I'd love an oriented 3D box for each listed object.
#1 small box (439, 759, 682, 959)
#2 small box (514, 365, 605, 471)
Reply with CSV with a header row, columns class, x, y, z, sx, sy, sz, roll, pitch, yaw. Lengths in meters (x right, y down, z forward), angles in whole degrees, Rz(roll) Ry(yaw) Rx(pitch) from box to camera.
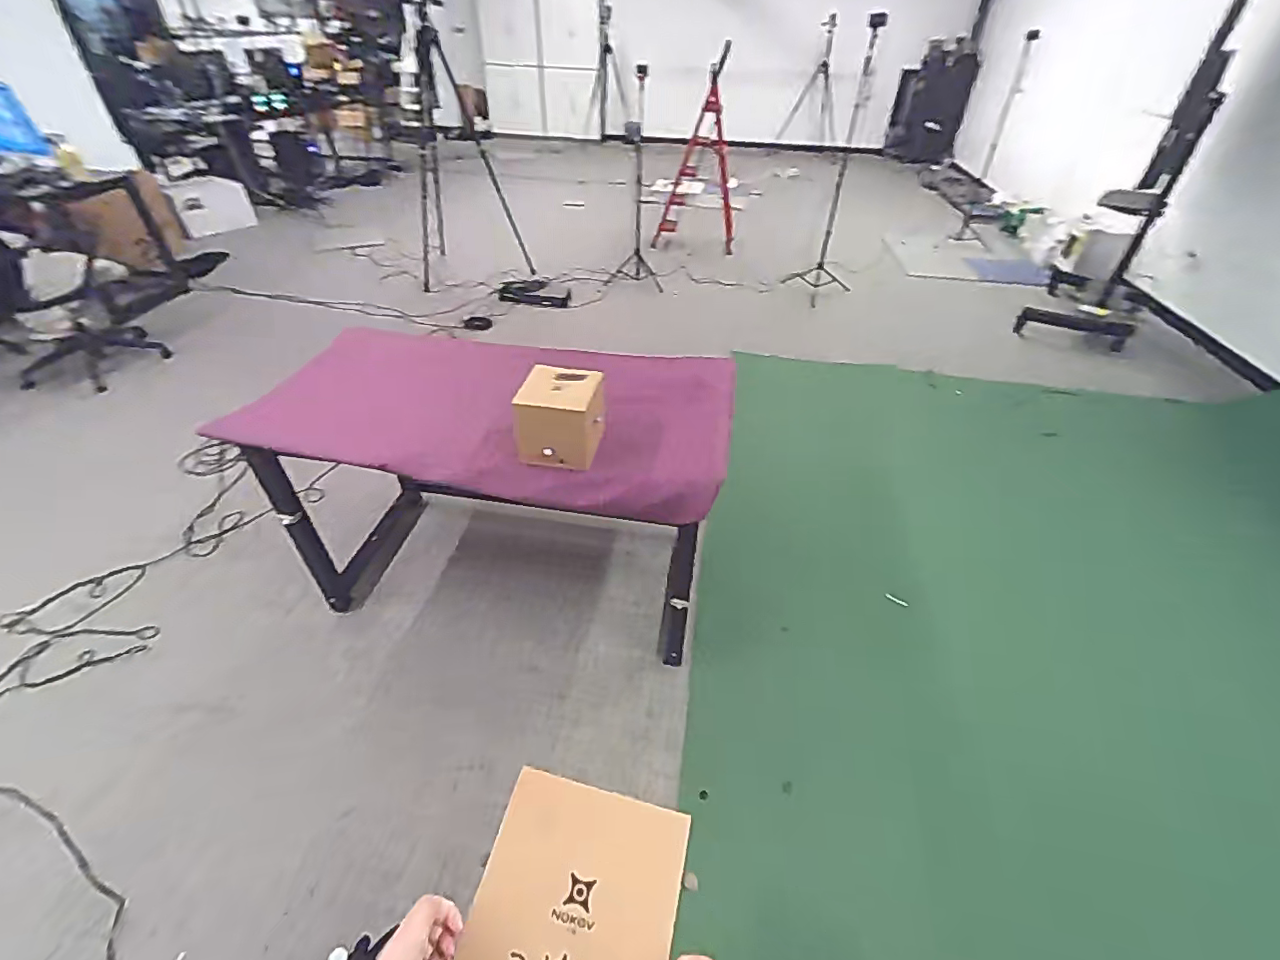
class,x,y,z,sx,sy,sz,roll,pitch,yaw
small box,-0.064,0.393,0.502,0.168,0.176,0.179,11,50,8
small box,-0.180,-0.146,1.261,0.168,0.176,0.179,7,41,7
